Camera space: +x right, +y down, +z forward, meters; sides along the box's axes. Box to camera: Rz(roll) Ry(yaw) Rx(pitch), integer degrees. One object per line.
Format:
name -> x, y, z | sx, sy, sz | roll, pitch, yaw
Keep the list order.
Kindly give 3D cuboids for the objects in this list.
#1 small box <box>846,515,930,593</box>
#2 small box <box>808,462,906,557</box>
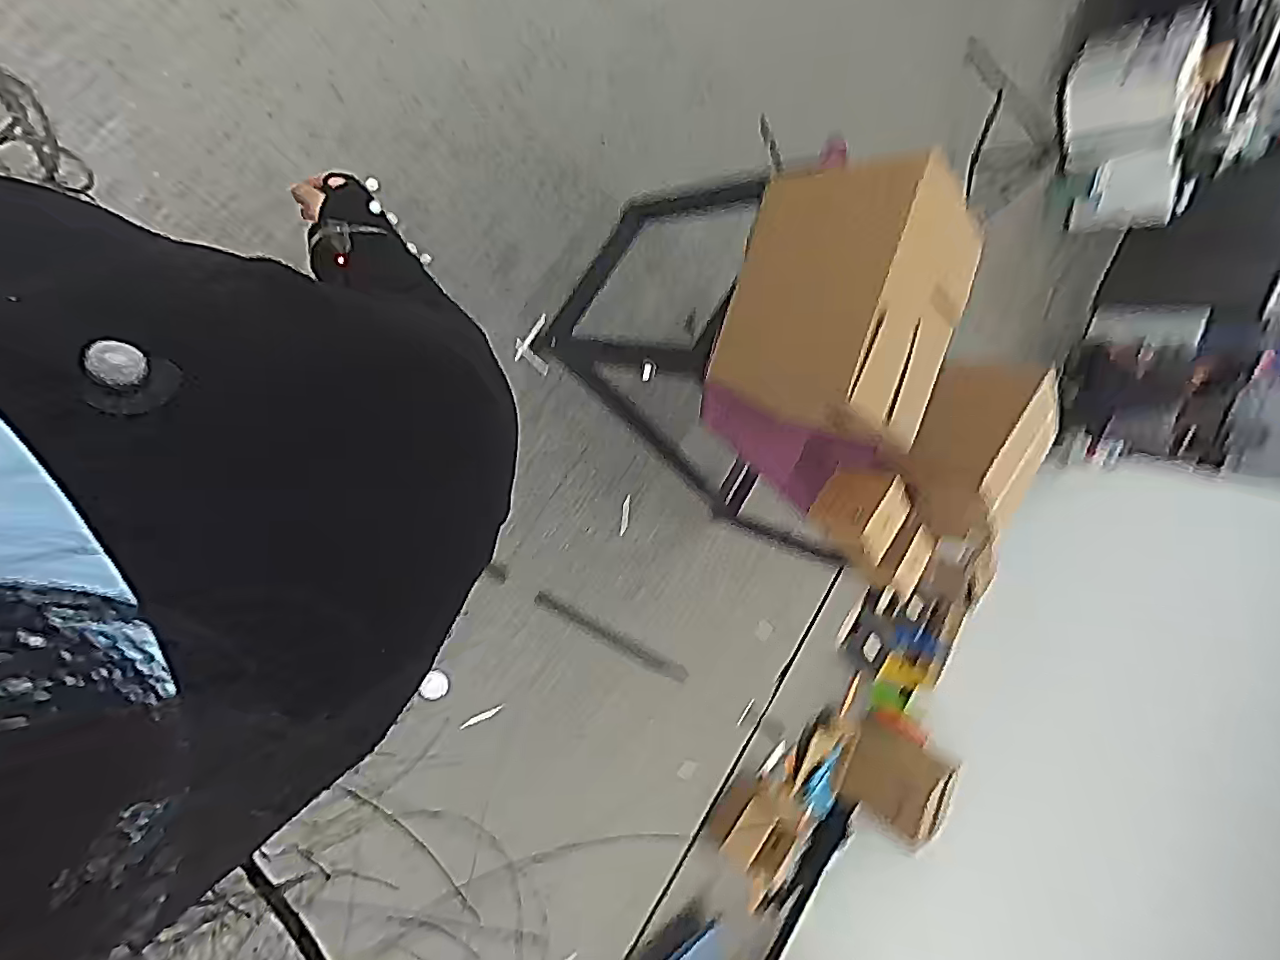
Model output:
small box -> 0.749, 0.210, 1.649 | 0.179, 0.176, 0.168 | -56, 131, -13
small box -> 0.589, 0.074, 1.470 | 0.179, 0.176, 0.168 | -53, 131, -12
